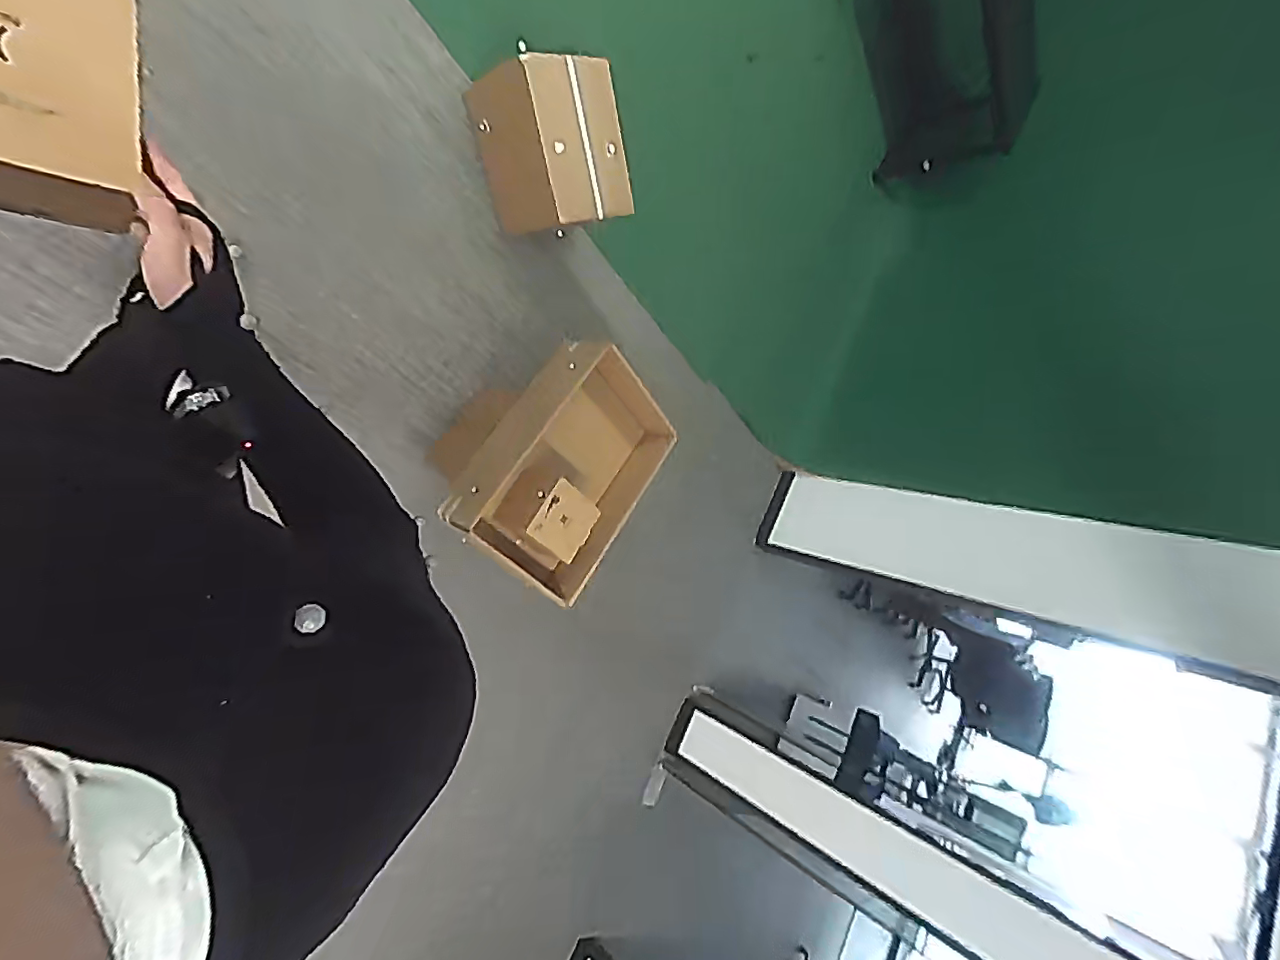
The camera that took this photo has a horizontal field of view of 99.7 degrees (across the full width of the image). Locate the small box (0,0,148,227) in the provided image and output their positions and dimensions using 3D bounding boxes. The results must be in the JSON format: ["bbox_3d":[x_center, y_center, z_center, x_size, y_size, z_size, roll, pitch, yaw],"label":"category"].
[{"bbox_3d":[-0.521,-0.331,0.438,0.168,0.176,0.179,-4,100,-46],"label":"small box"}]
